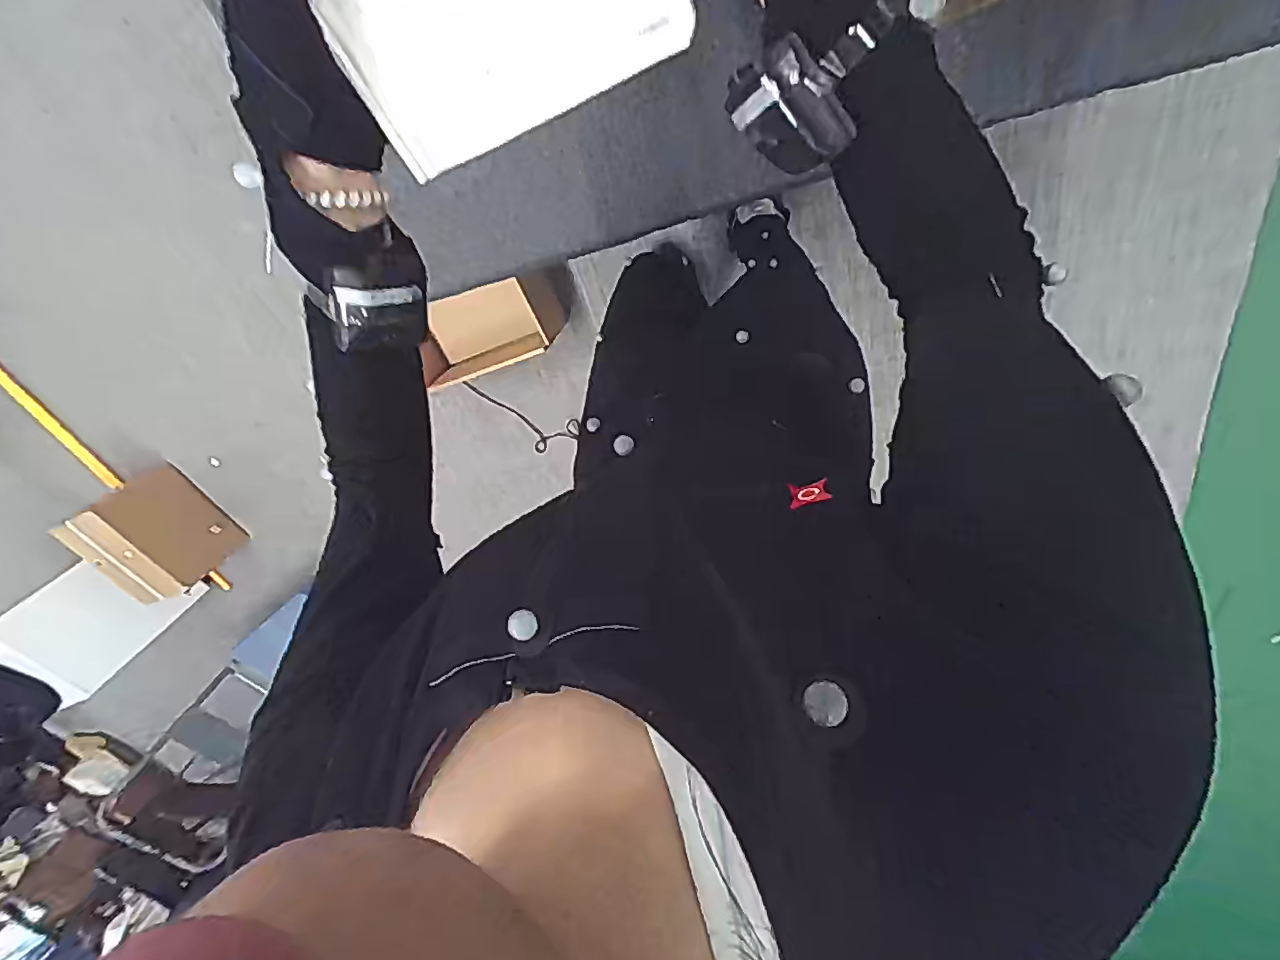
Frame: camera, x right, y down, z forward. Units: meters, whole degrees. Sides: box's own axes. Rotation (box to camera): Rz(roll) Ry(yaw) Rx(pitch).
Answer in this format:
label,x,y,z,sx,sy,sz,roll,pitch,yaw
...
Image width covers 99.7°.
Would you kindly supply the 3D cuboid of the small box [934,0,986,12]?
label,x,y,z,sx,sy,sz,roll,pitch,yaw
small box,0.278,-0.415,0.315,0.179,0.176,0.168,-12,122,19
